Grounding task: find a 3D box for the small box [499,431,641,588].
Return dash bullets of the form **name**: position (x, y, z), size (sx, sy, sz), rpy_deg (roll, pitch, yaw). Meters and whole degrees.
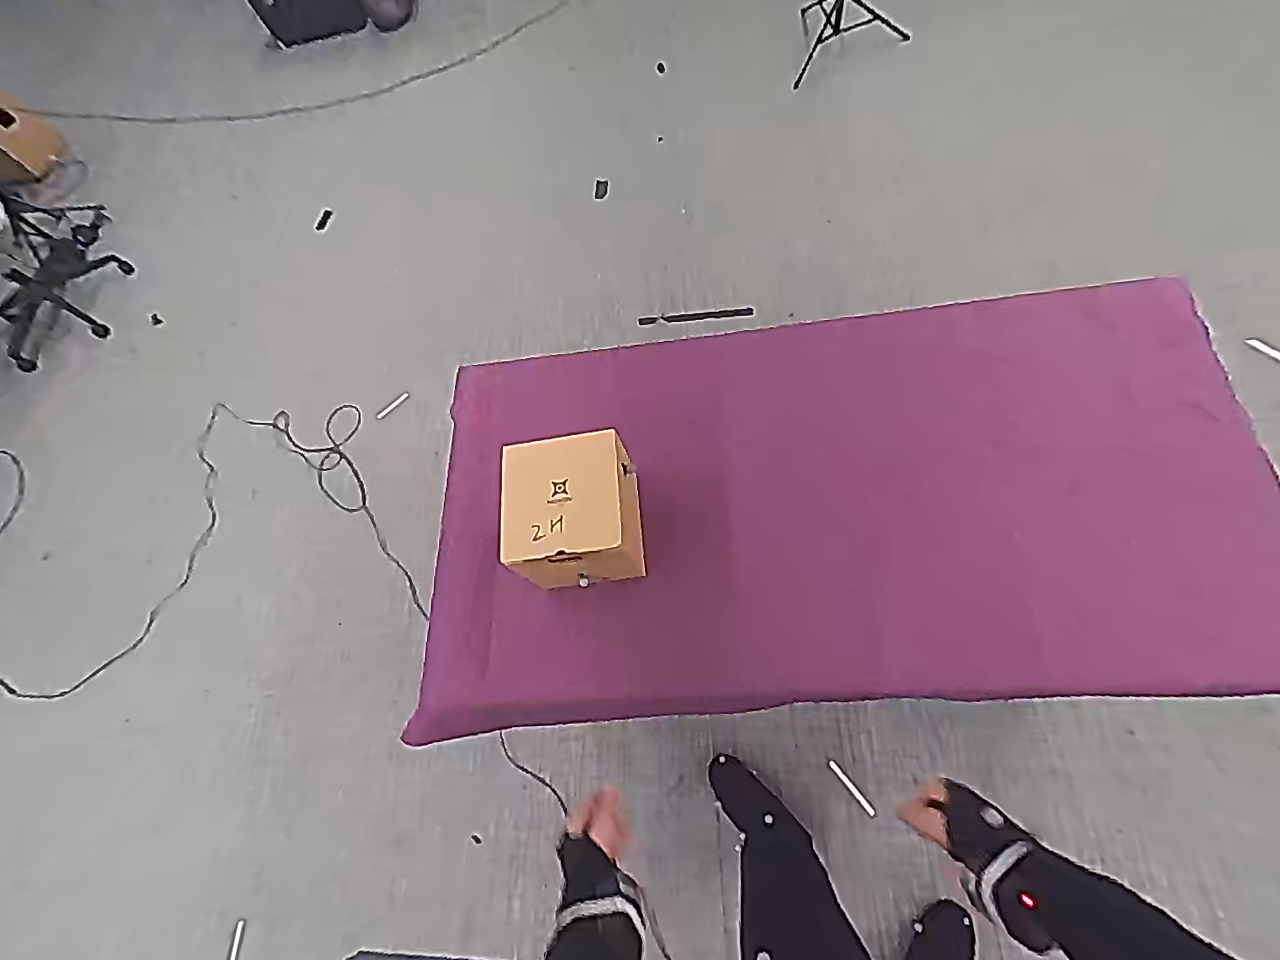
- **small box**: position (-0.097, 0.051, 0.803), size (0.168, 0.176, 0.179), rpy_deg (-9, 67, 8)
